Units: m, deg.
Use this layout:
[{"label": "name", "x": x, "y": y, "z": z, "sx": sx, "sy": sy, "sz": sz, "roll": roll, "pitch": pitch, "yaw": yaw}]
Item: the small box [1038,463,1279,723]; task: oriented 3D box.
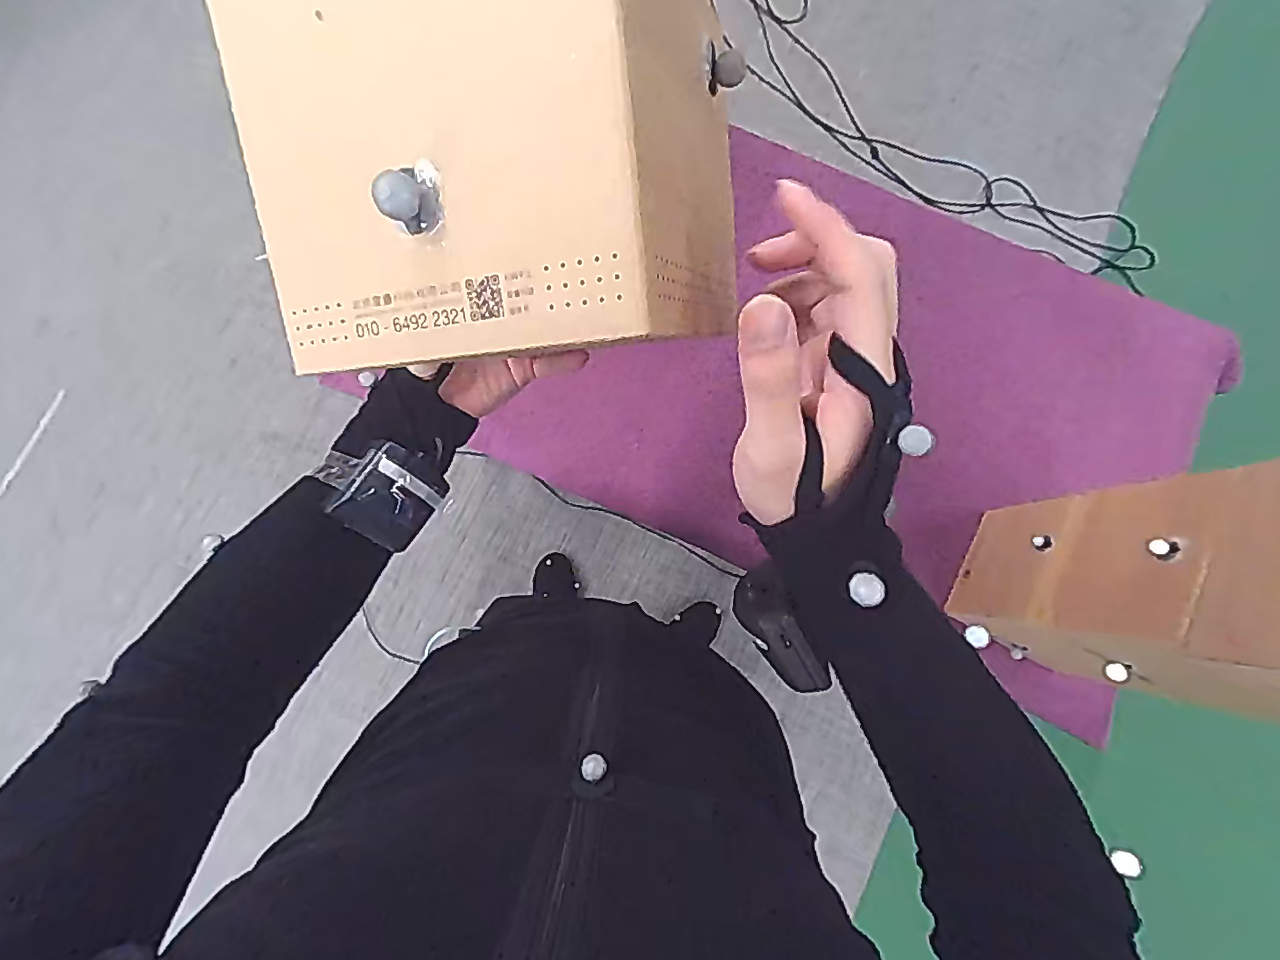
[{"label": "small box", "x": 0.544, "y": 0.109, "z": 0.528, "sx": 0.168, "sy": 0.176, "sz": 0.179, "roll": 29, "pitch": 82, "yaw": 5}]

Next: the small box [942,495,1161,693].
[{"label": "small box", "x": 0.536, "y": 0.137, "z": 0.688, "sx": 0.179, "sy": 0.176, "sz": 0.168, "roll": 29, "pitch": 81, "yaw": 3}]

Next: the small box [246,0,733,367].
[{"label": "small box", "x": -0.050, "y": -0.148, "z": 0.269, "sx": 0.168, "sy": 0.179, "sz": 0.176, "roll": -1, "pitch": 104, "yaw": 21}]
